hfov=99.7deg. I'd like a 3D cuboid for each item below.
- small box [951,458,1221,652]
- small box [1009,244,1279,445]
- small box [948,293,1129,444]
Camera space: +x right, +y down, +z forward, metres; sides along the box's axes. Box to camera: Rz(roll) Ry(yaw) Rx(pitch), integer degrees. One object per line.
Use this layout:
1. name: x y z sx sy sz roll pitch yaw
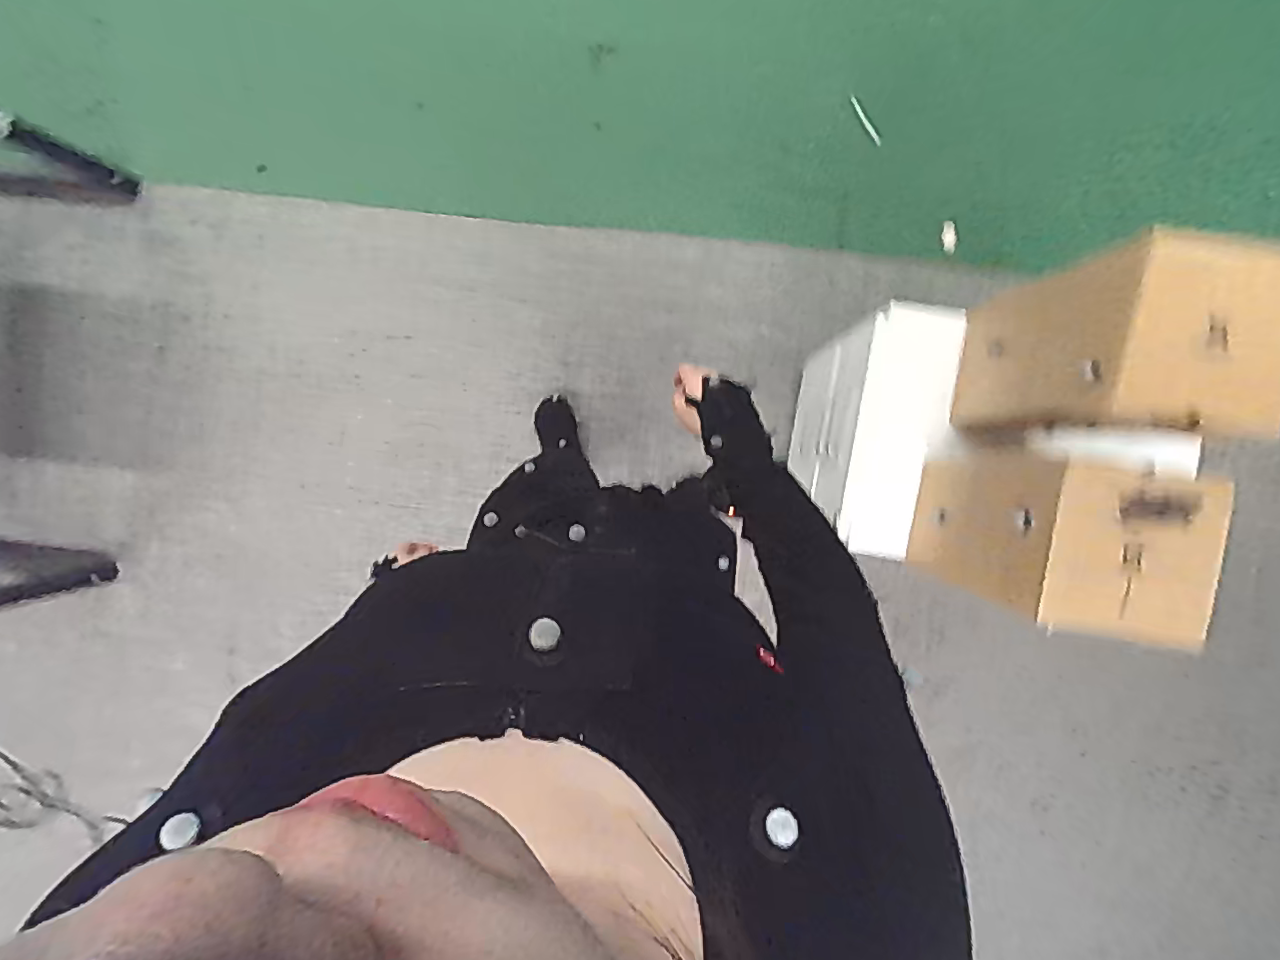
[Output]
1. small box: 0.497 0.075 0.631 0.168 0.176 0.179 10 92 2
2. small box: 0.567 -0.141 0.619 0.168 0.176 0.179 11 95 2
3. small box: 0.578 -0.150 0.783 0.168 0.176 0.179 9 94 3
